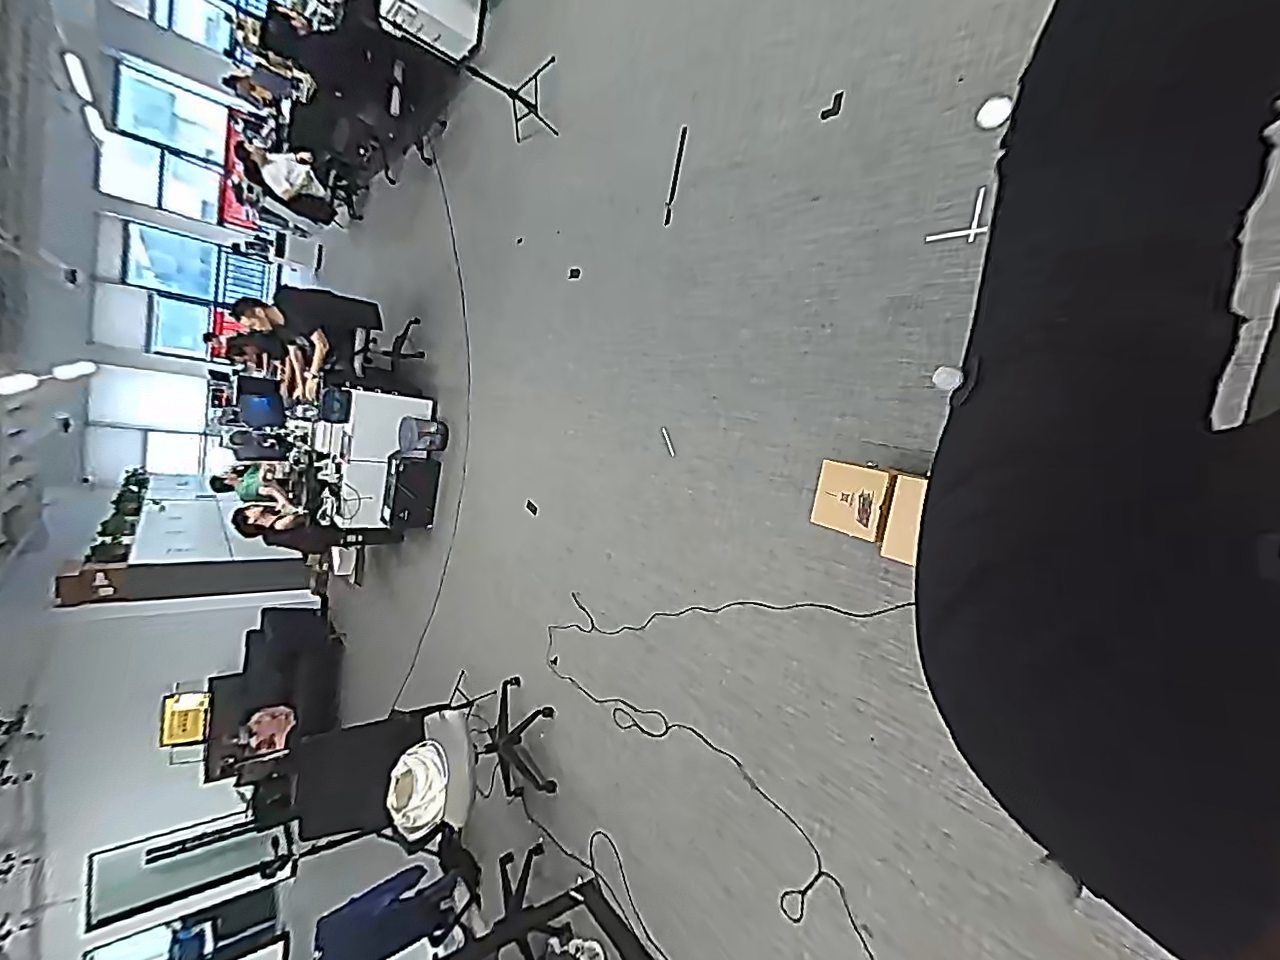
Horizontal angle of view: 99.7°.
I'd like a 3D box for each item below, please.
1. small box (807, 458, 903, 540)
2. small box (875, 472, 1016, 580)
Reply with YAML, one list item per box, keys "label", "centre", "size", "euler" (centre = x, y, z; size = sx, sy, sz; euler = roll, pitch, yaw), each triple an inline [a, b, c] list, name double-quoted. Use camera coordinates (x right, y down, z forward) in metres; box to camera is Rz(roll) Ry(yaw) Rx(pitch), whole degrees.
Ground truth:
- label: "small box"
  centre: [0.554, 0.045, 1.353]
  size: [0.179, 0.176, 0.168]
  euler: [20, 102, 49]
- label: "small box"
  centre: [0.595, 0.086, 1.053]
  size: [0.179, 0.176, 0.168]
  euler: [17, 100, 46]
